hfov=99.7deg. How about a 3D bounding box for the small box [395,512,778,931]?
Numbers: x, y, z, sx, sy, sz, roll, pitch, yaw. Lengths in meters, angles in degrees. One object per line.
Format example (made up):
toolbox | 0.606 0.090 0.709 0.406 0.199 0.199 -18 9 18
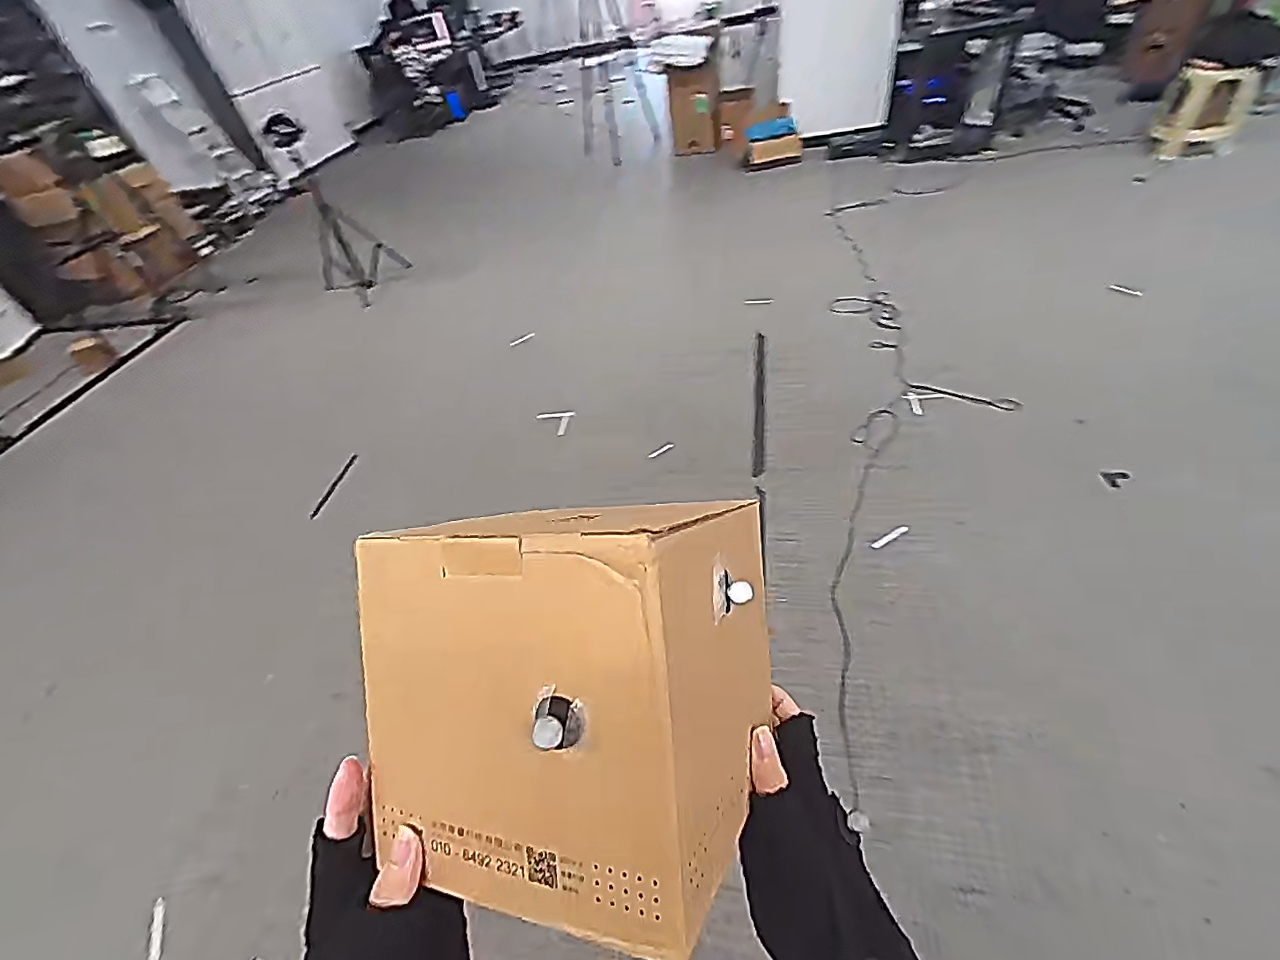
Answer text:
small box | -0.016 0.113 0.329 0.168 0.176 0.179 -3 -1 26
